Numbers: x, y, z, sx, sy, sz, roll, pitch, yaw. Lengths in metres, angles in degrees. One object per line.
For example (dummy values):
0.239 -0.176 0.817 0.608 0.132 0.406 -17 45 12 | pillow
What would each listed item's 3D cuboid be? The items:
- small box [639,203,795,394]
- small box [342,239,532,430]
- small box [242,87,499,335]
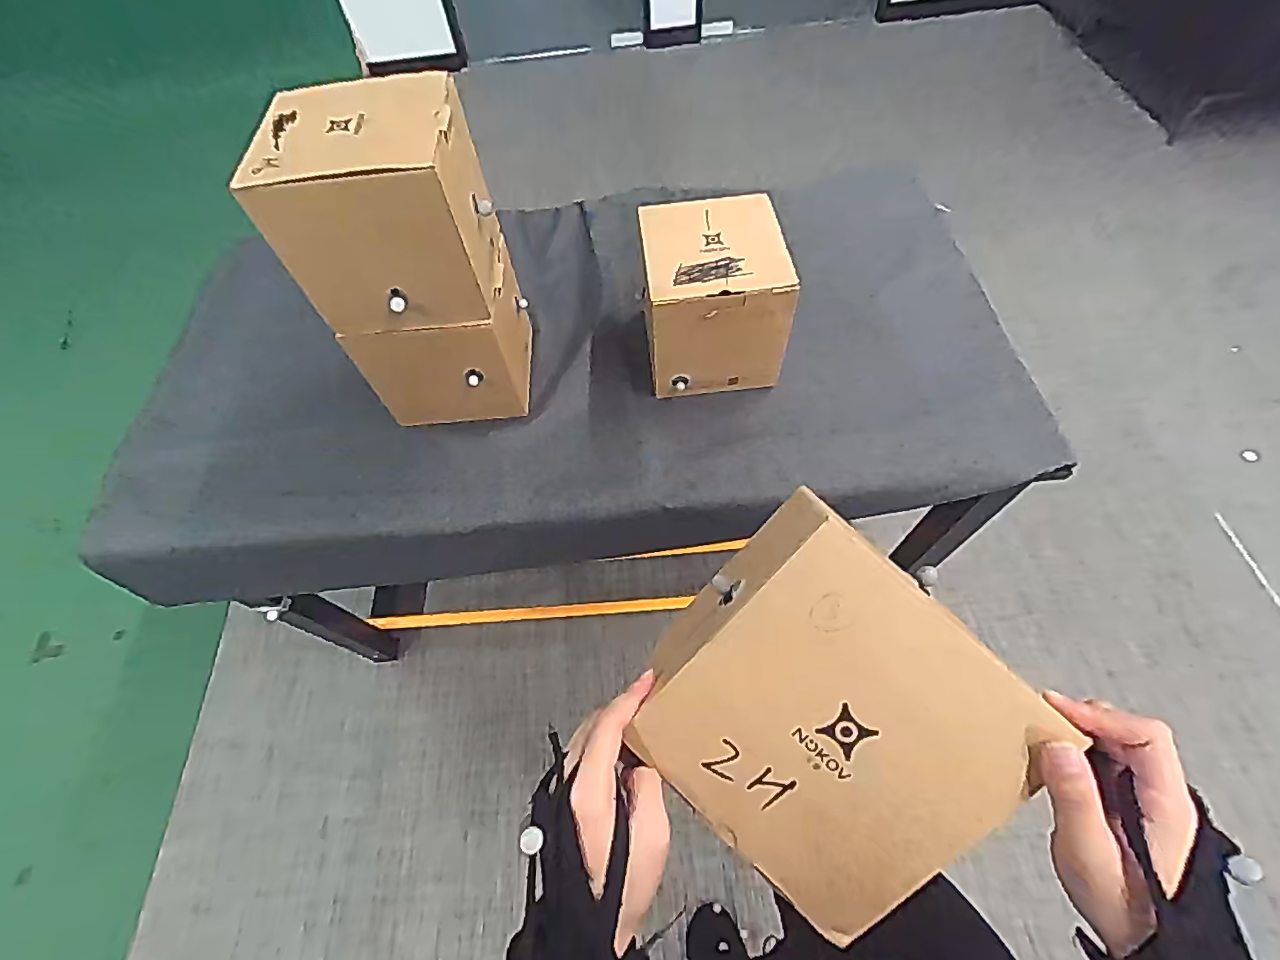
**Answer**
0.091 -0.227 0.707 0.168 0.176 0.179 -6 58 0 | small box
-0.243 -0.183 0.703 0.179 0.176 0.168 -5 58 1 | small box
-0.255 -0.274 0.567 0.179 0.176 0.168 -6 58 0 | small box
